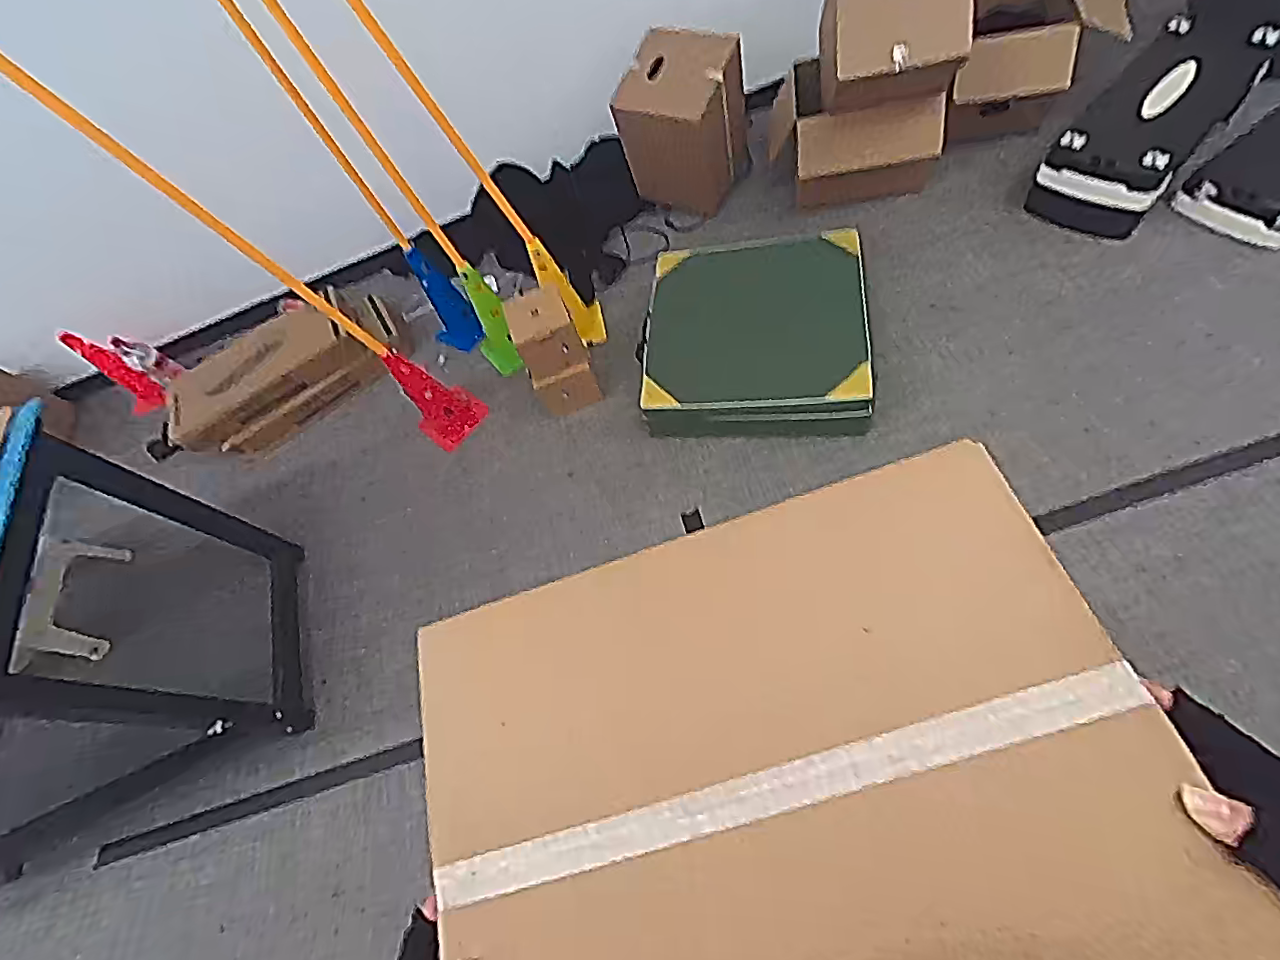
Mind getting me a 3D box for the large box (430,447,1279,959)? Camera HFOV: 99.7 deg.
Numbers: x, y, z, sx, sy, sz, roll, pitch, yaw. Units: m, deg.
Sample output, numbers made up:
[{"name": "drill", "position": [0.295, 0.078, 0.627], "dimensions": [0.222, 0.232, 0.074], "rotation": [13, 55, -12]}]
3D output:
[{"name": "large box", "position": [0.106, 0.232, 0.446], "dimensions": [0.408, 0.320, 0.320], "rotation": [-20, 62, 6]}]
